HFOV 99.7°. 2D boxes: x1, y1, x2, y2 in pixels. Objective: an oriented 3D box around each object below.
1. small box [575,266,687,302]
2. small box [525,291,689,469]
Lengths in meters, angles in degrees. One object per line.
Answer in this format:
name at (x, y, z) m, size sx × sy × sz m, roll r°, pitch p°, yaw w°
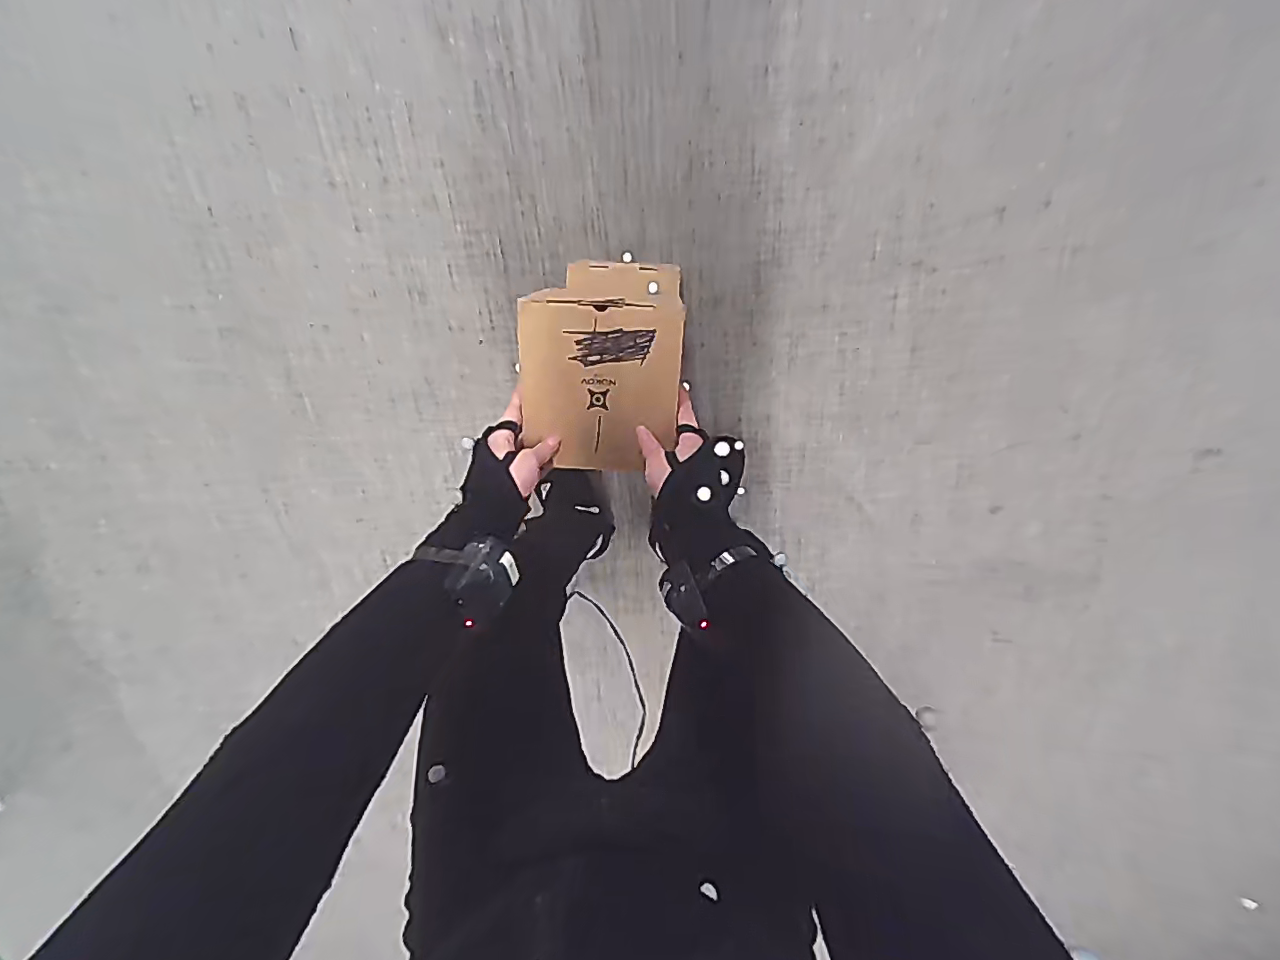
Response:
small box at (-0.016, -0.254, 0.884) m, size 0.168 × 0.176 × 0.179 m, roll 3°, pitch 113°, yaw 0°
small box at (-0.034, -0.126, 0.636) m, size 0.168 × 0.176 × 0.179 m, roll 3°, pitch 113°, yaw 2°
